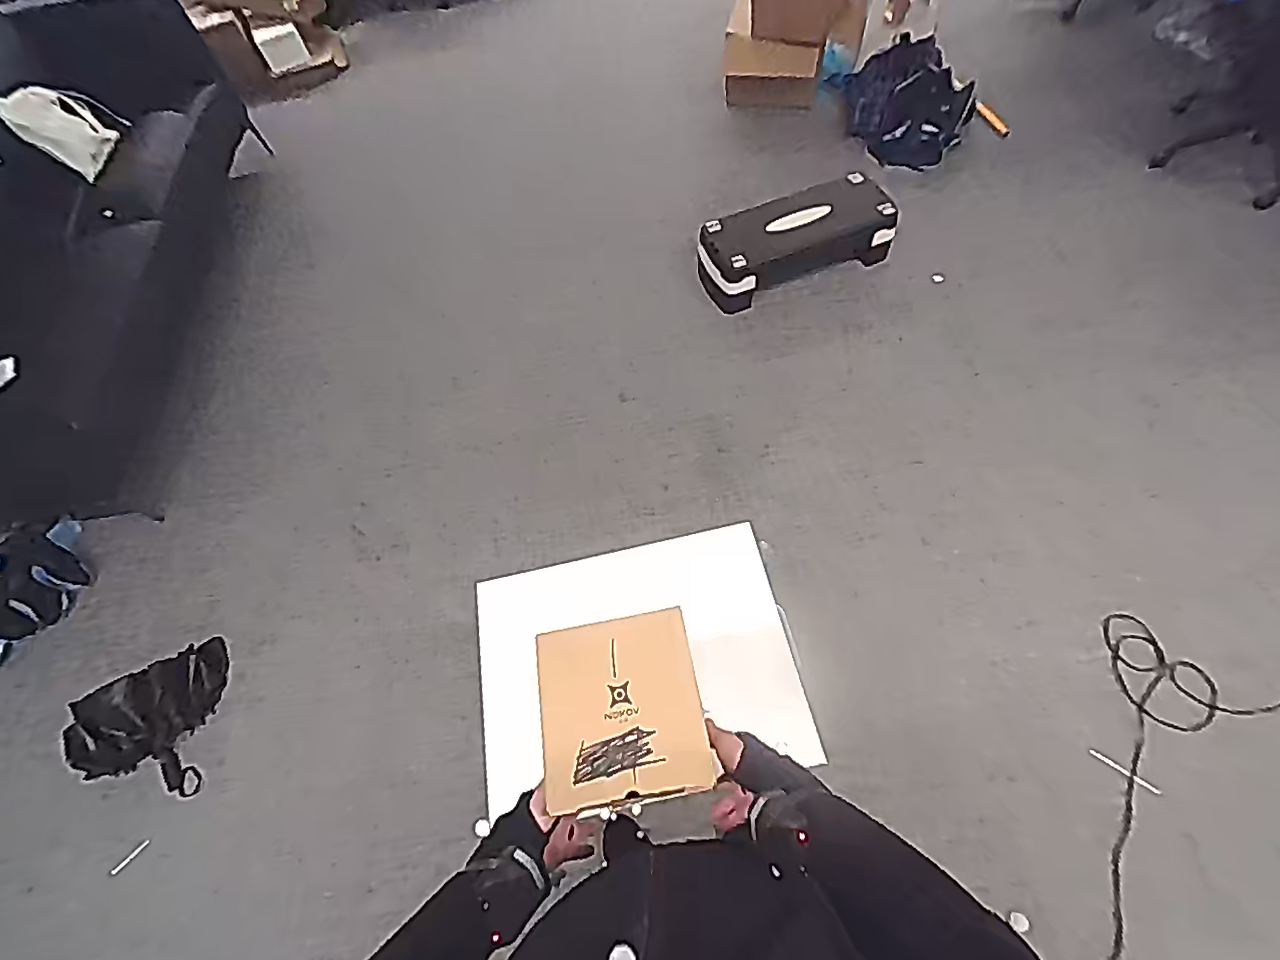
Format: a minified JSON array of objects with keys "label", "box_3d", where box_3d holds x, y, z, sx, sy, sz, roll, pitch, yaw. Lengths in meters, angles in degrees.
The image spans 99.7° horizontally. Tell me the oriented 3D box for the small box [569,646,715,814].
[{"label":"small box","box_3d":[0.004,0.354,0.761,0.168,0.176,0.179,-12,60,0]}]
